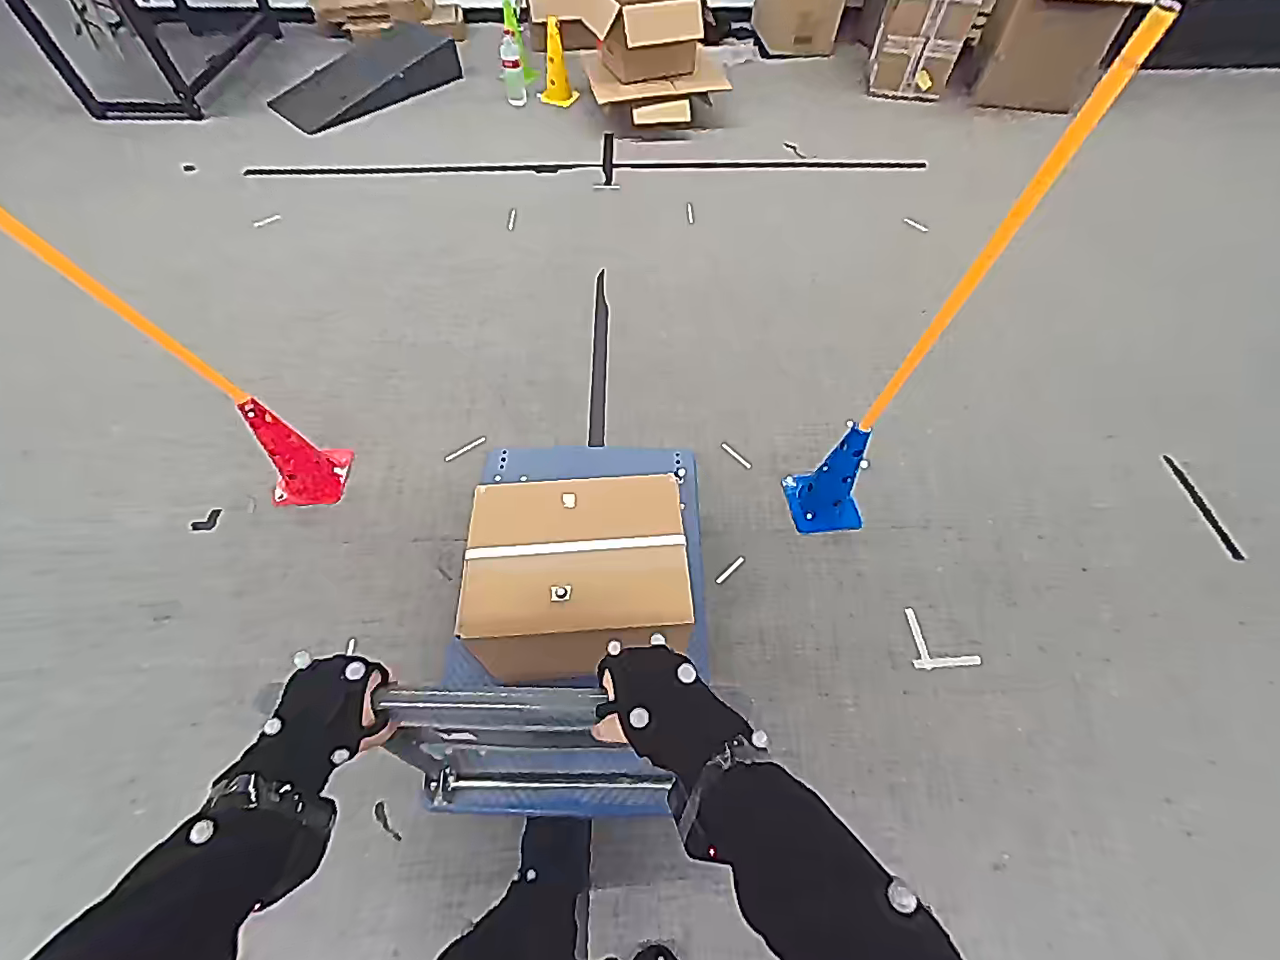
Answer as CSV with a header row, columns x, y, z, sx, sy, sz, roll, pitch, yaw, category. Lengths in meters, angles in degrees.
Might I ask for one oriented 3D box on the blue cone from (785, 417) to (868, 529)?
x,y,z,sx,sy,sz,roll,pitch,yaw,category
0.549,-0.031,1.487,0.193,0.380,0.192,-4,56,-4,blue cone
